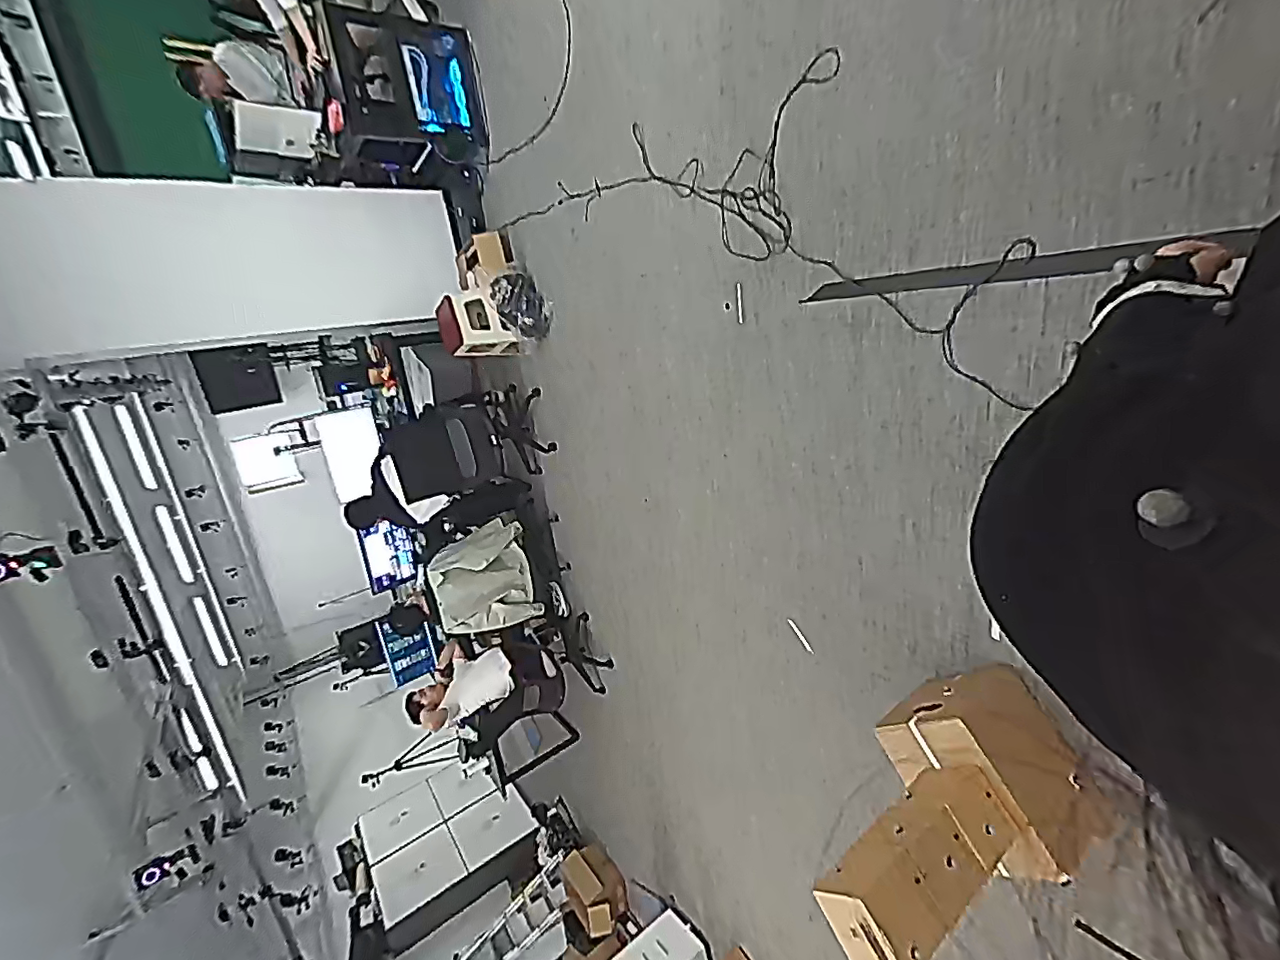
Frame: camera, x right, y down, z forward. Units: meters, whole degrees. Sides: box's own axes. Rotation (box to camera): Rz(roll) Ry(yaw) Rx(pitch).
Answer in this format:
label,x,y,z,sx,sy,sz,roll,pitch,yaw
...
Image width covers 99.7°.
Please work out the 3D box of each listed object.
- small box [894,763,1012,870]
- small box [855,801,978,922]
label,x,y,z,sx,sy,sz,roll,pitch,yaw
small box,0.791,0.835,1.358,0.168,0.176,0.179,61,146,16
small box,0.658,0.887,1.276,0.168,0.176,0.179,61,146,16
